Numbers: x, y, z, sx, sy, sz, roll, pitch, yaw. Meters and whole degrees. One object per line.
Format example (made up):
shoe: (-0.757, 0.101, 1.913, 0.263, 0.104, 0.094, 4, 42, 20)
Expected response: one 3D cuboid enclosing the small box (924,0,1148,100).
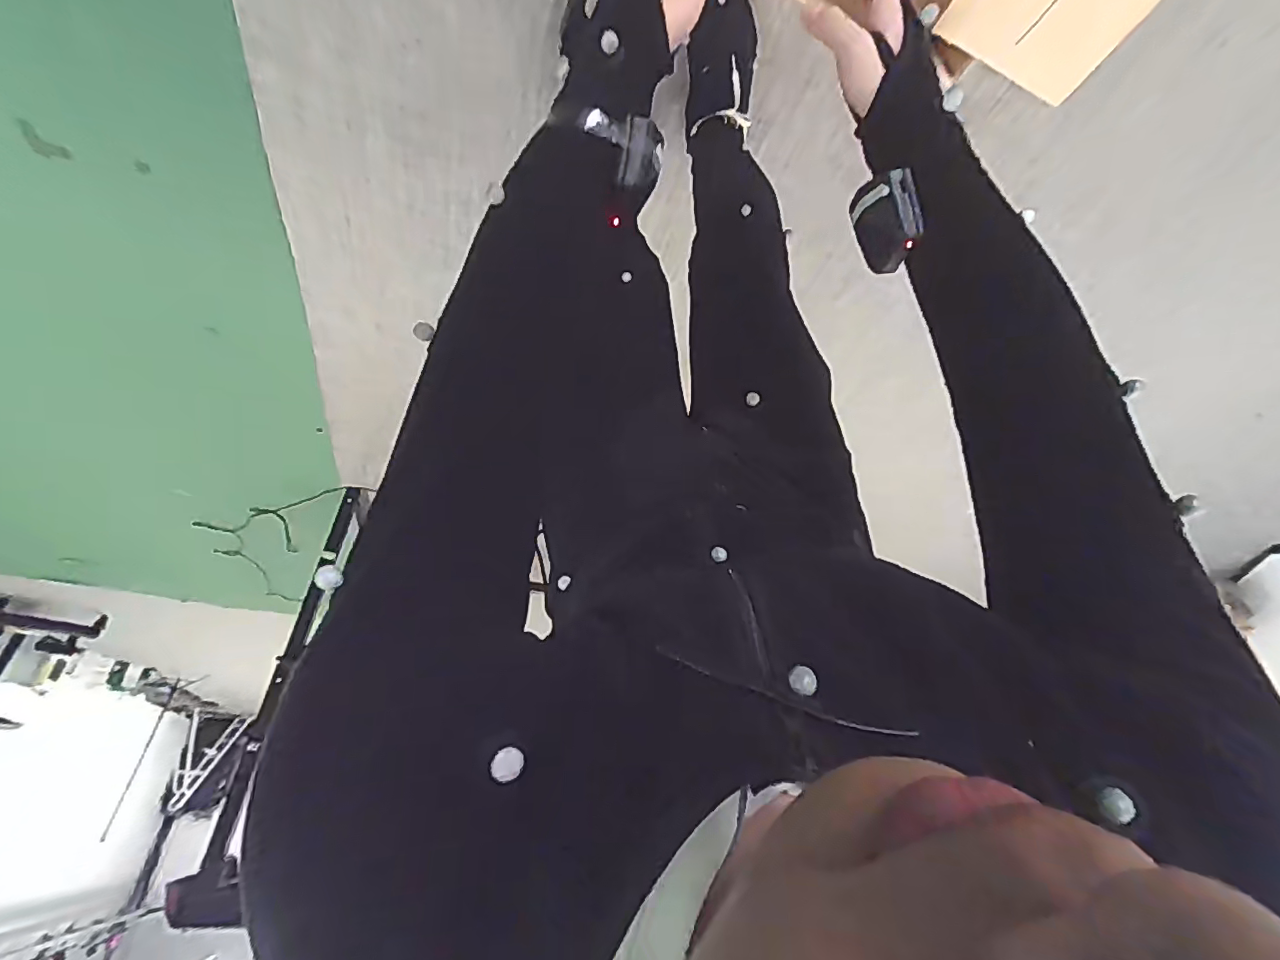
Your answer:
small box: (0.385, -0.519, 0.508, 0.168, 0.176, 0.179, 15, 146, -17)
